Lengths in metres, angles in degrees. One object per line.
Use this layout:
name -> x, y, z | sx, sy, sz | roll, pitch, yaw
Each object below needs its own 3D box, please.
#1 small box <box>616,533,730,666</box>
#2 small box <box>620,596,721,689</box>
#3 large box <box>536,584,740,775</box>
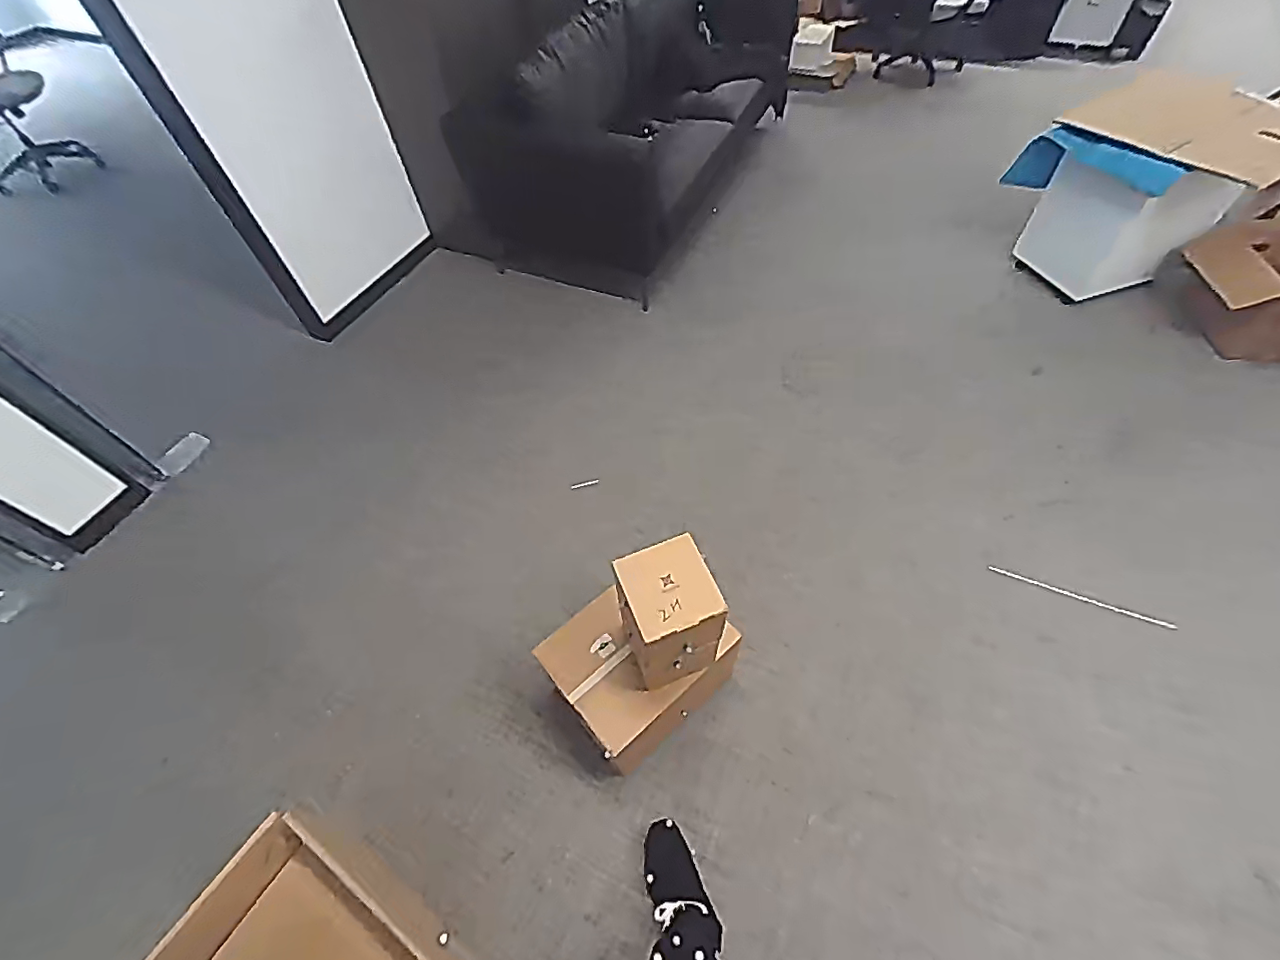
small box -> 0.059, 0.239, 1.067 | 0.168, 0.176, 0.179 | -20, 57, -10
small box -> 0.064, 0.335, 1.202 | 0.168, 0.176, 0.179 | -19, 56, -9
large box -> 0.005, 0.479, 1.405 | 0.408, 0.320, 0.320 | -37, 60, -20
